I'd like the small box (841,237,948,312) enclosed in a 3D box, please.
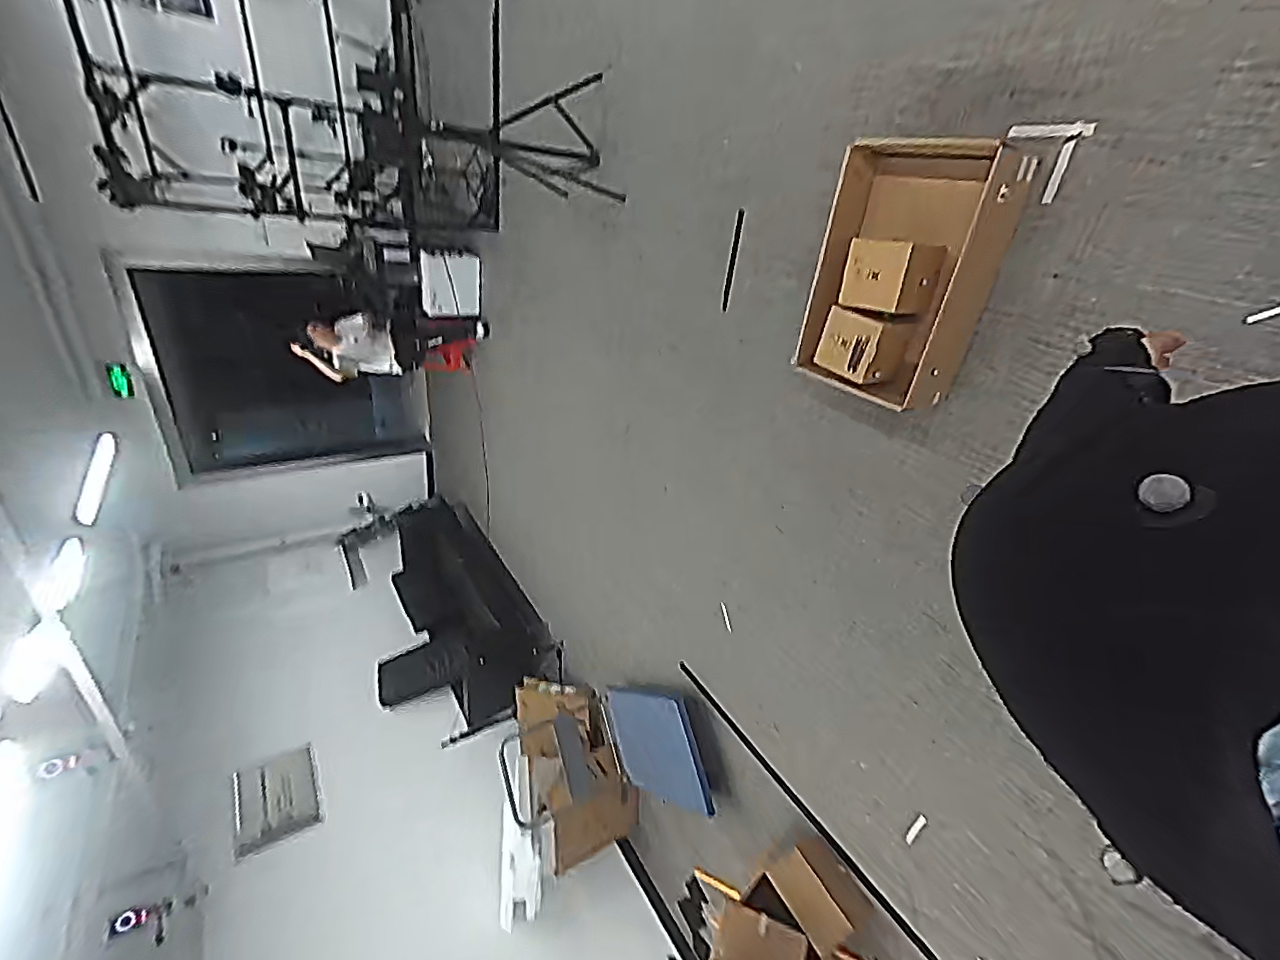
[{"bbox_3d":[0.672,-0.543,1.428,0.179,0.176,0.168,35,128,47],"label":"small box"}]
